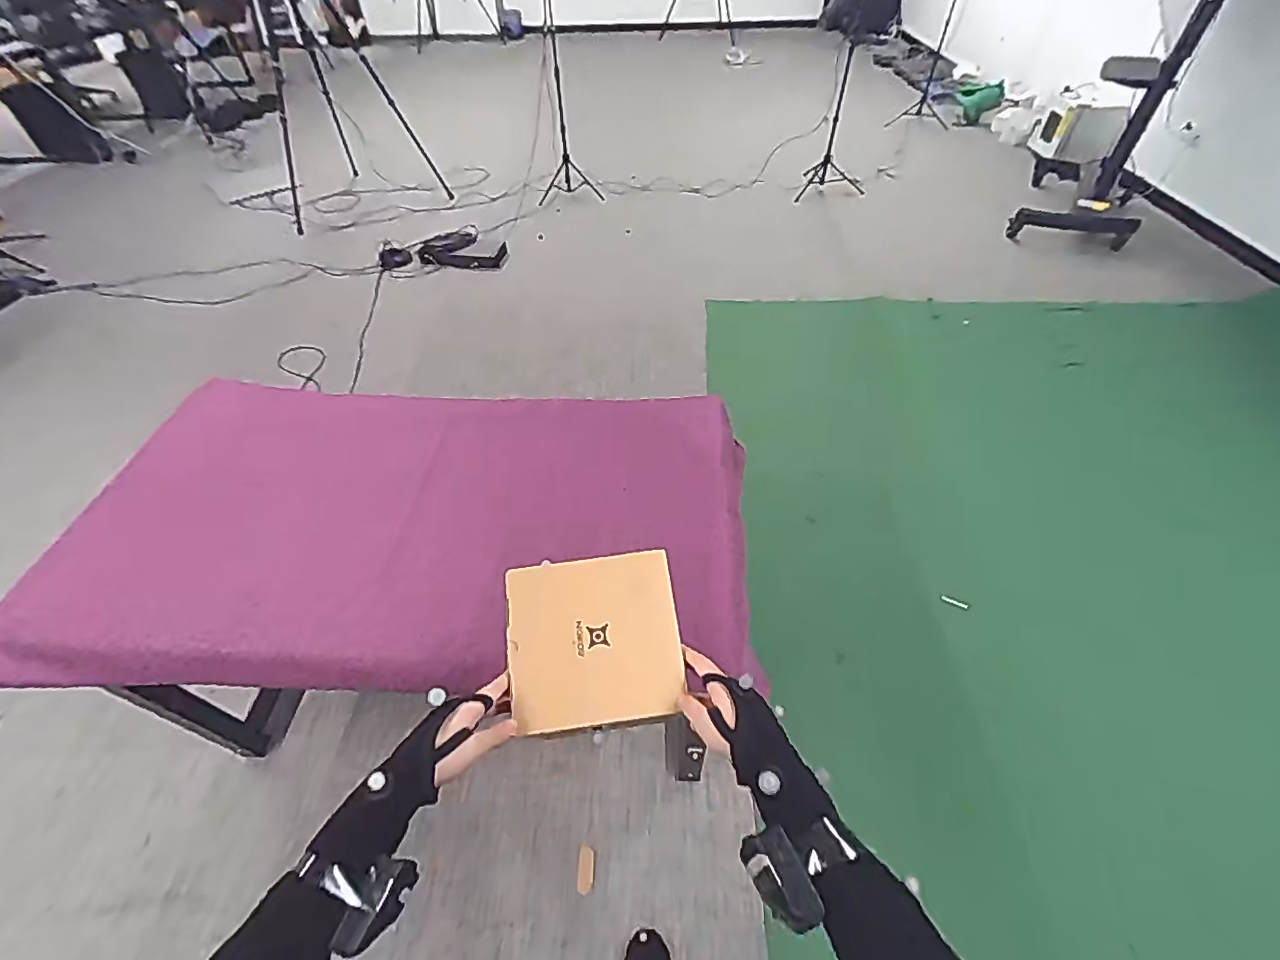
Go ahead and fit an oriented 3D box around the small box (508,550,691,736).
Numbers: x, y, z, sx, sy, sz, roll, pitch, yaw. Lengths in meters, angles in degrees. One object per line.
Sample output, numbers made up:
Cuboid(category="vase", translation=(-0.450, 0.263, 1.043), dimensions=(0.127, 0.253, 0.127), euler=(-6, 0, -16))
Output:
Cuboid(category="small box", translation=(-0.044, 0.194, 0.628), dimensions=(0.179, 0.176, 0.168), euler=(-9, 64, -1))
